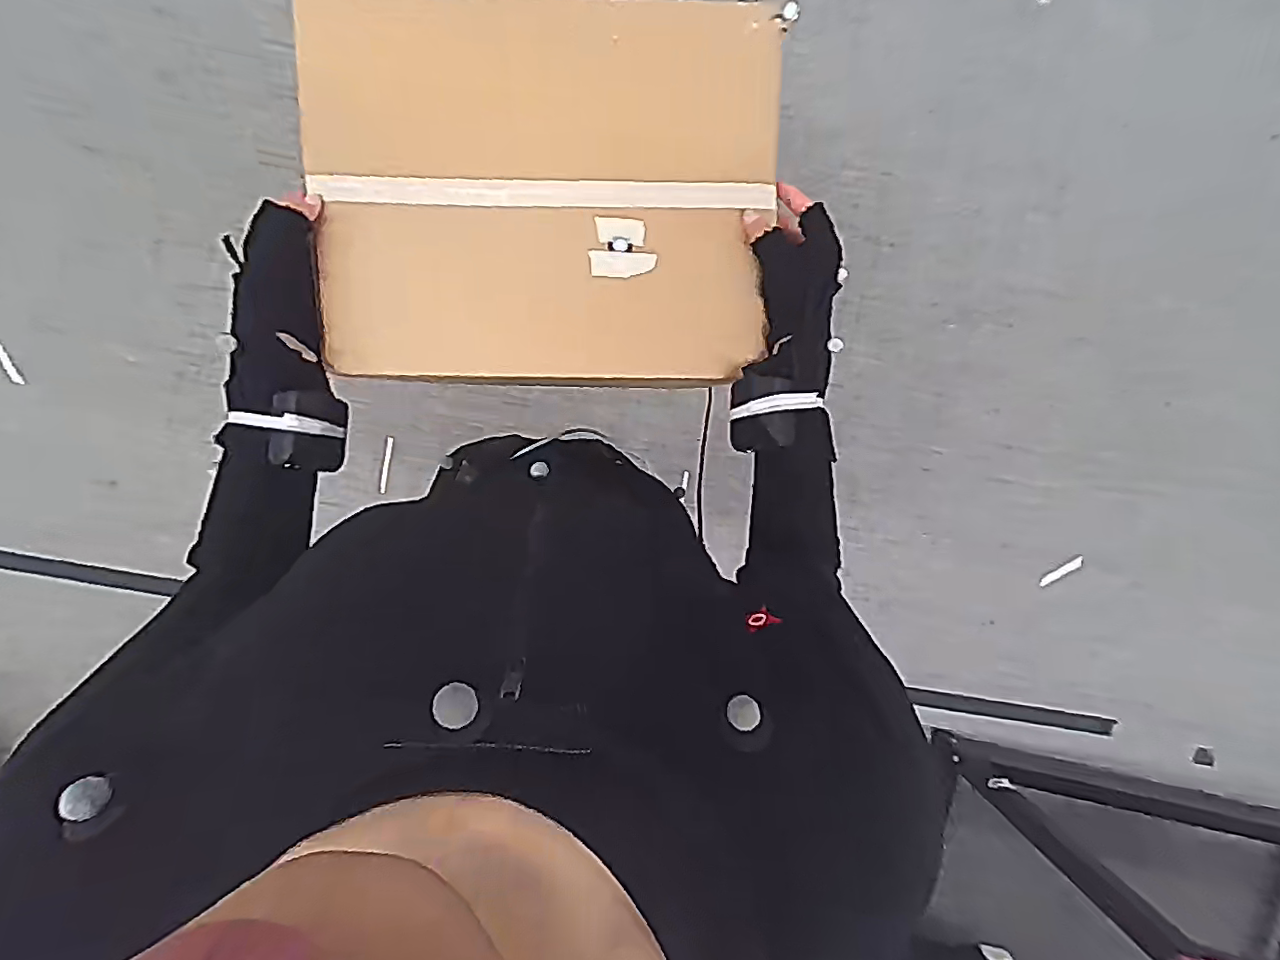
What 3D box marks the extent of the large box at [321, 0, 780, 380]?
[{"bbox_3d":[-0.084,-0.280,0.636,0.408,0.320,0.320,1,99,-3],"label":"large box"}]
